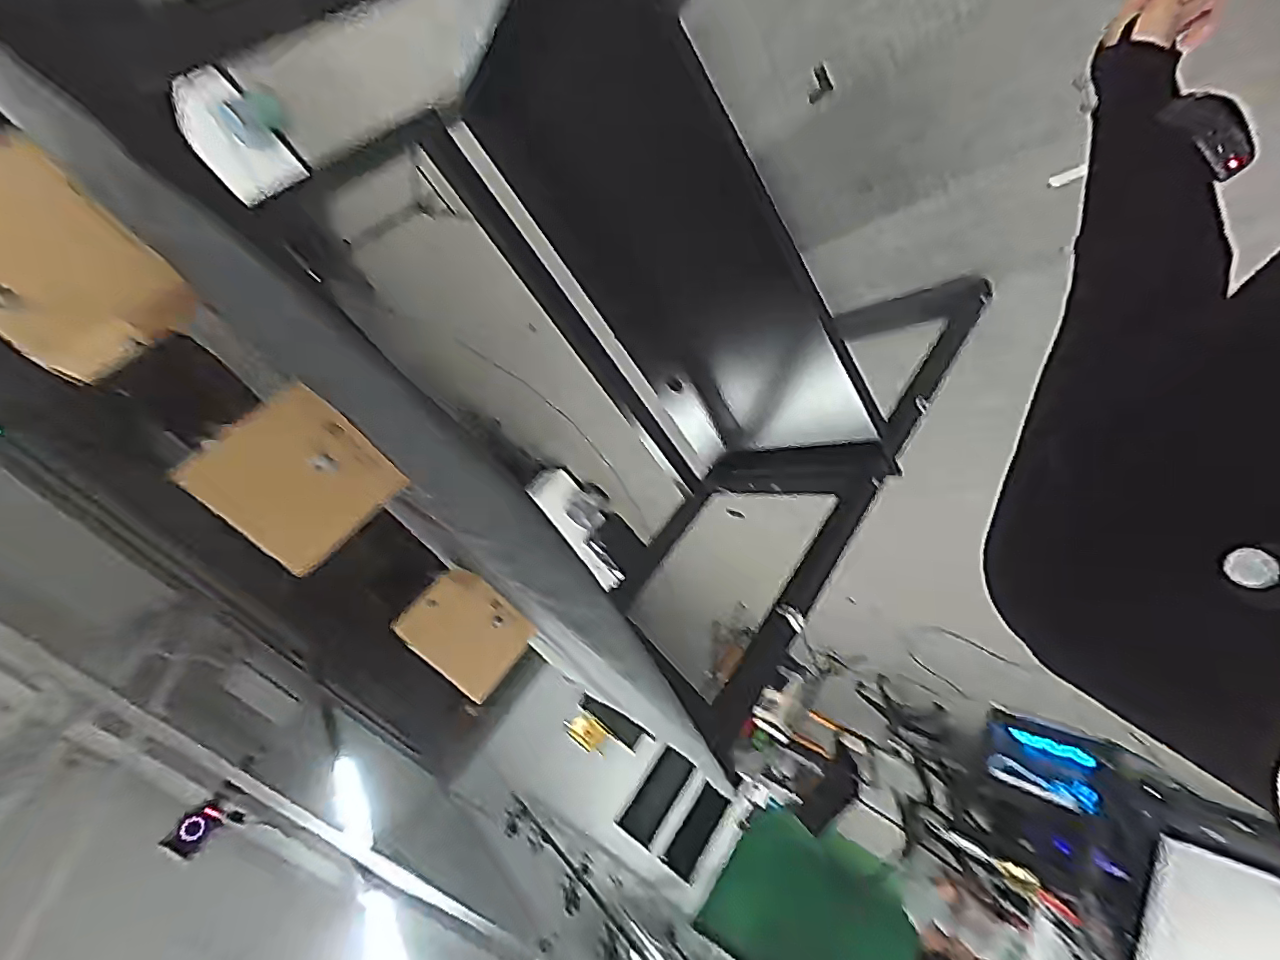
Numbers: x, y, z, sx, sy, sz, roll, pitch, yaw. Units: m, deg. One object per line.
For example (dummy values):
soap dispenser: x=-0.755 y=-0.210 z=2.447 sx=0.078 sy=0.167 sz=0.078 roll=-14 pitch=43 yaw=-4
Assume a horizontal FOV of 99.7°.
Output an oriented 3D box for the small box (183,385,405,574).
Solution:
small box: x=-0.440 y=-0.006 z=0.709 sx=0.179 sy=0.176 sz=0.168 roll=4 pitch=137 yaw=56

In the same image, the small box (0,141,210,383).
small box: x=-0.622 y=-0.230 z=0.601 sx=0.179 sy=0.176 sz=0.168 roll=5 pitch=139 yaw=54
